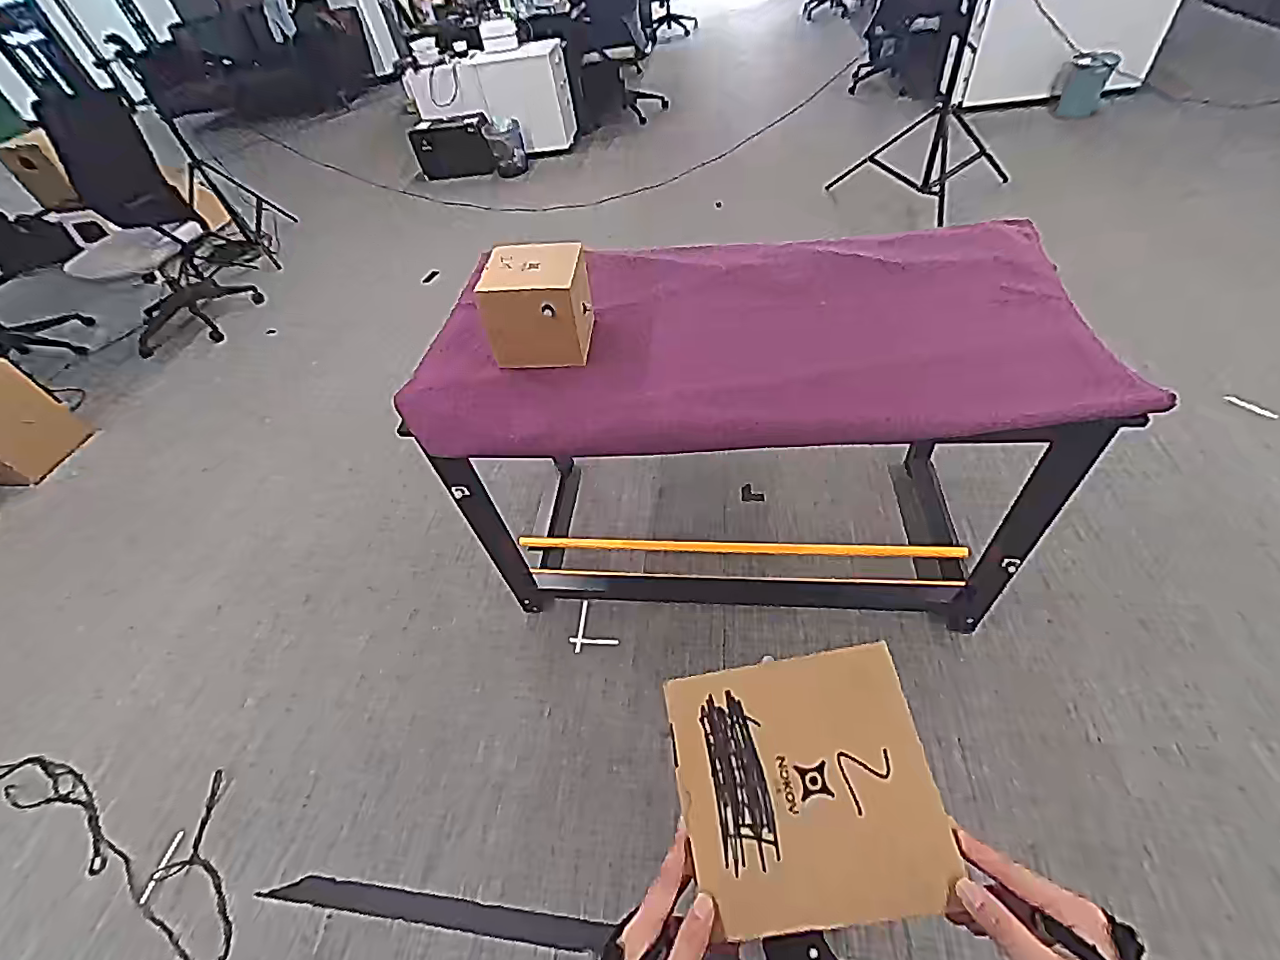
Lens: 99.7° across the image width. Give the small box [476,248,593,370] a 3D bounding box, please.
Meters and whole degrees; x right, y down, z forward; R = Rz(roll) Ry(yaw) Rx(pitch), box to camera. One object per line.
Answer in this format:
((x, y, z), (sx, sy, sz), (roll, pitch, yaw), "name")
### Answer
((-0.192, -0.329, 1.051), (0.179, 0.176, 0.168), (0, 49, 6), "small box")
